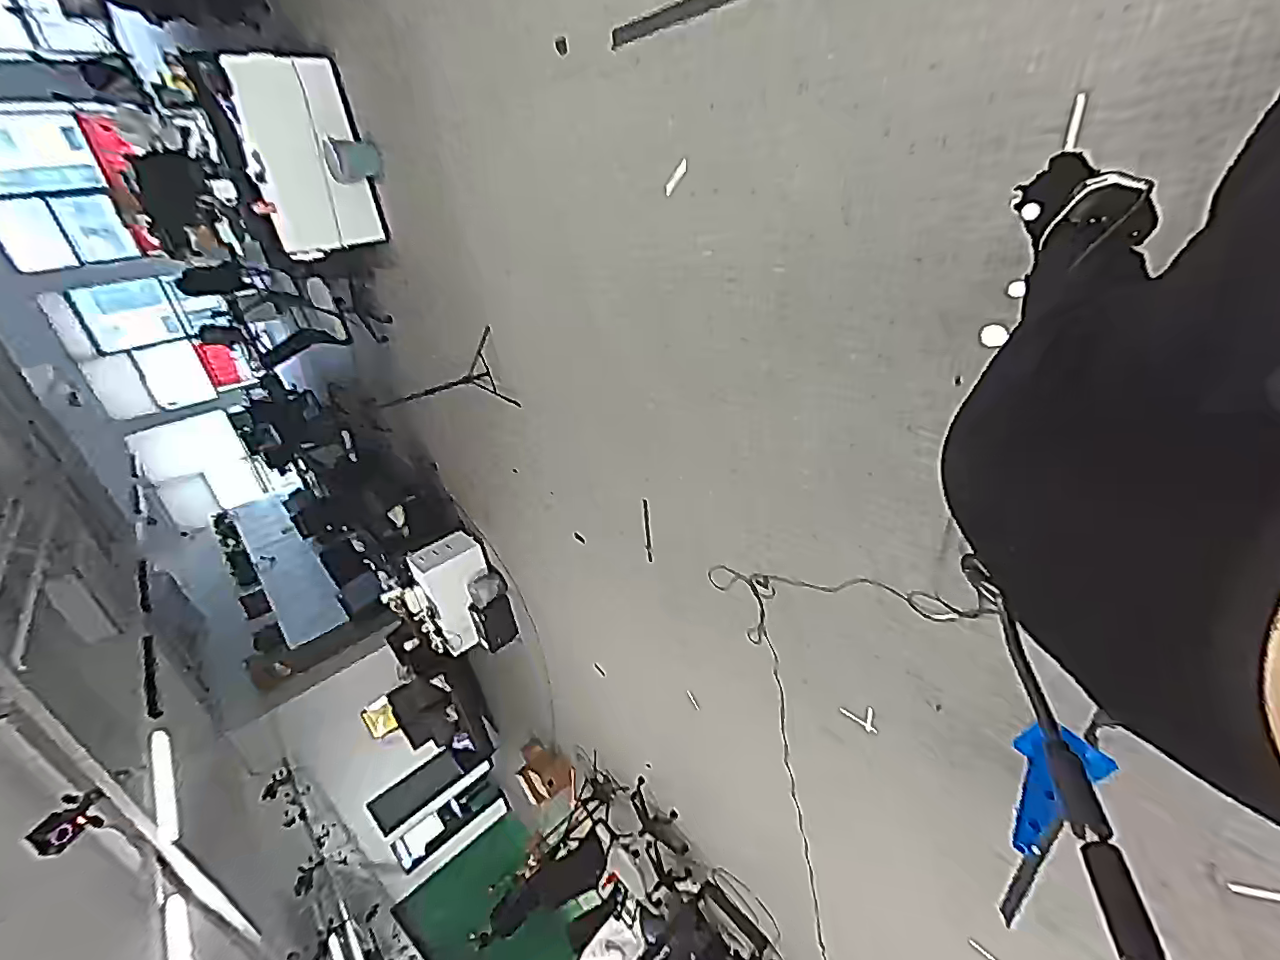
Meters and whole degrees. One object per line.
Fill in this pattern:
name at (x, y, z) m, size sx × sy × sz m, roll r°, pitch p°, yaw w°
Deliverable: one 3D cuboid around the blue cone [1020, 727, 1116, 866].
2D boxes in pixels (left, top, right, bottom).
blue cone at (1.121, 0.888, 1.487) m, size 0.192 × 0.380 × 0.193 m, roll 37°, pitch 139°, yaw 30°
